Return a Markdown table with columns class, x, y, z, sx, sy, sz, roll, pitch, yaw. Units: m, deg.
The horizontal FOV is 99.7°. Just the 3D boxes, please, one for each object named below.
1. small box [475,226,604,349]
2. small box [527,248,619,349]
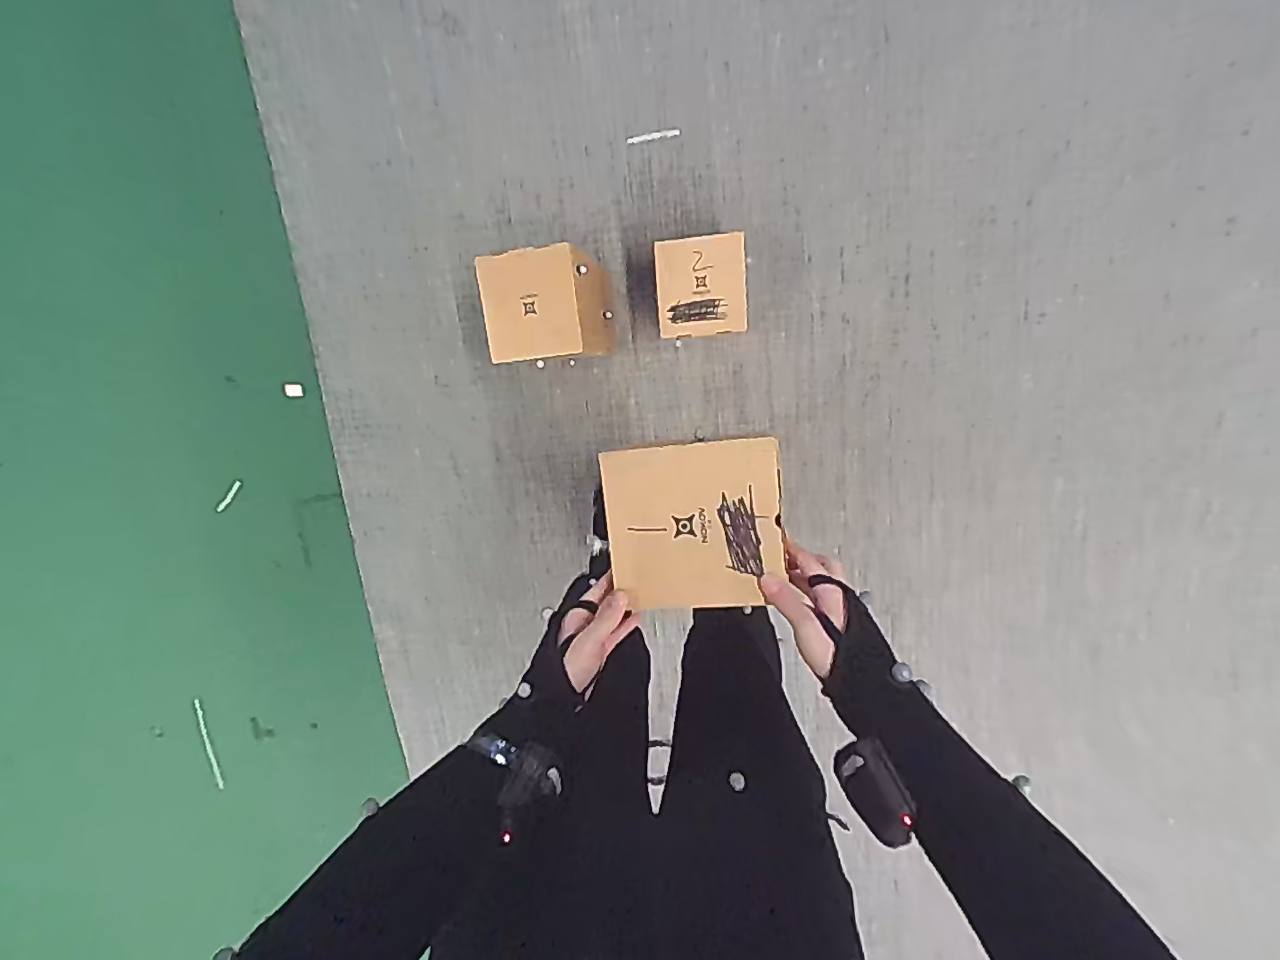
| class | x | y | z | sx | sy | sz | roll | pitch | yaw |
| --- | --- | --- | --- | --- | --- | --- | --- | --- | --- |
| small box | -0.165 | -0.325 | 0.945 | 0.168 | 0.176 | 0.179 | -3 | 102 | 11 |
| small box | -0.140 | -0.362 | 1.101 | 0.168 | 0.176 | 0.179 | -1 | 103 | 9 |
